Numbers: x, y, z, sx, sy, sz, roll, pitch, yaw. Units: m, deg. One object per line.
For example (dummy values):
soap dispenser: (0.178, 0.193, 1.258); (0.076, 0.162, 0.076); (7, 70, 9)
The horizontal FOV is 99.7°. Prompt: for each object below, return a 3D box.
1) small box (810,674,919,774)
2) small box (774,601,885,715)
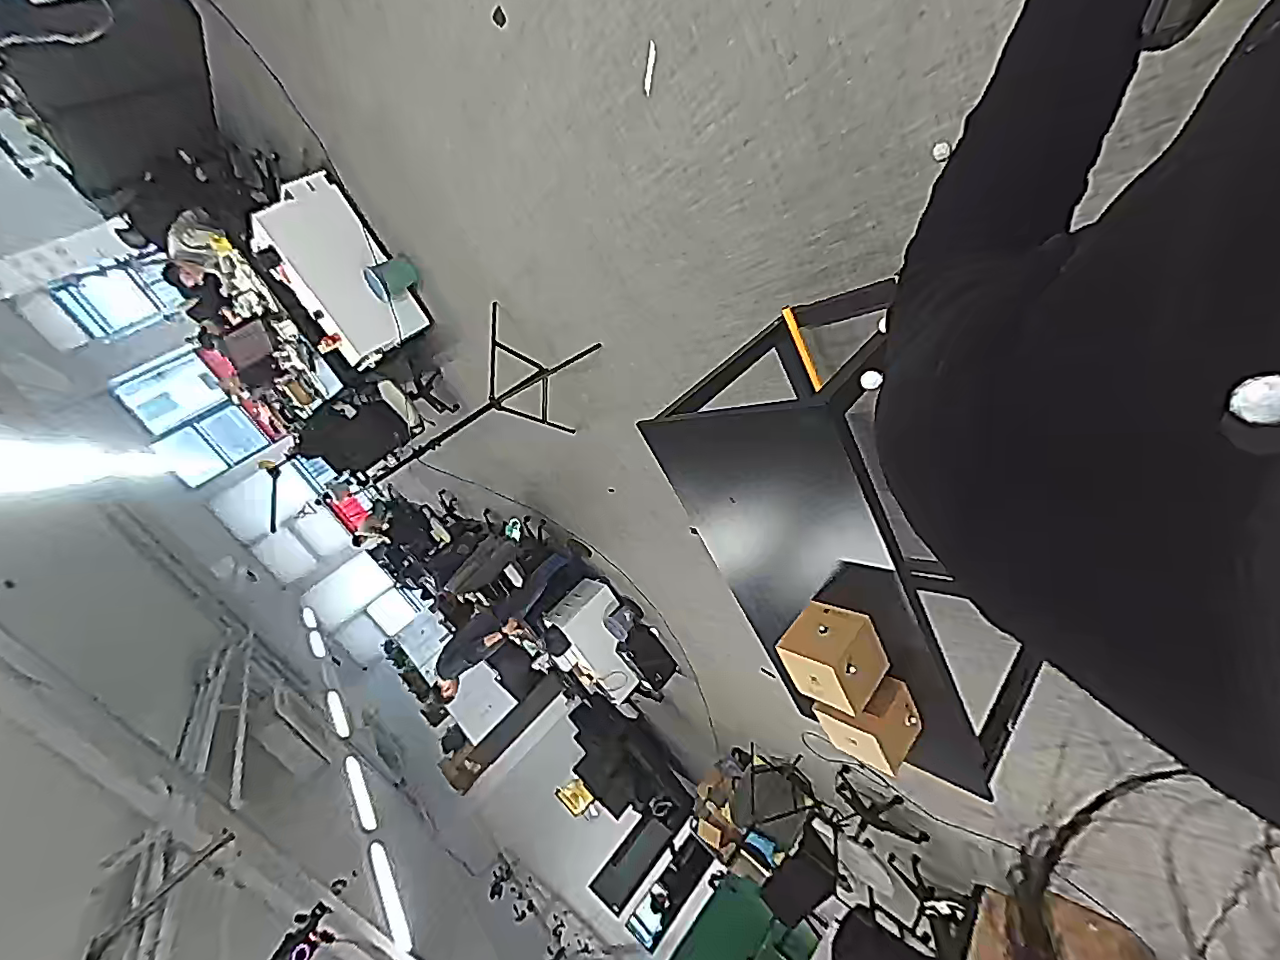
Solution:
small box: (0.579, 0.601, 1.391); (0.179, 0.176, 0.168); (2, 129, 55)
small box: (0.466, 0.426, 1.322); (0.168, 0.176, 0.179); (5, 131, 55)
